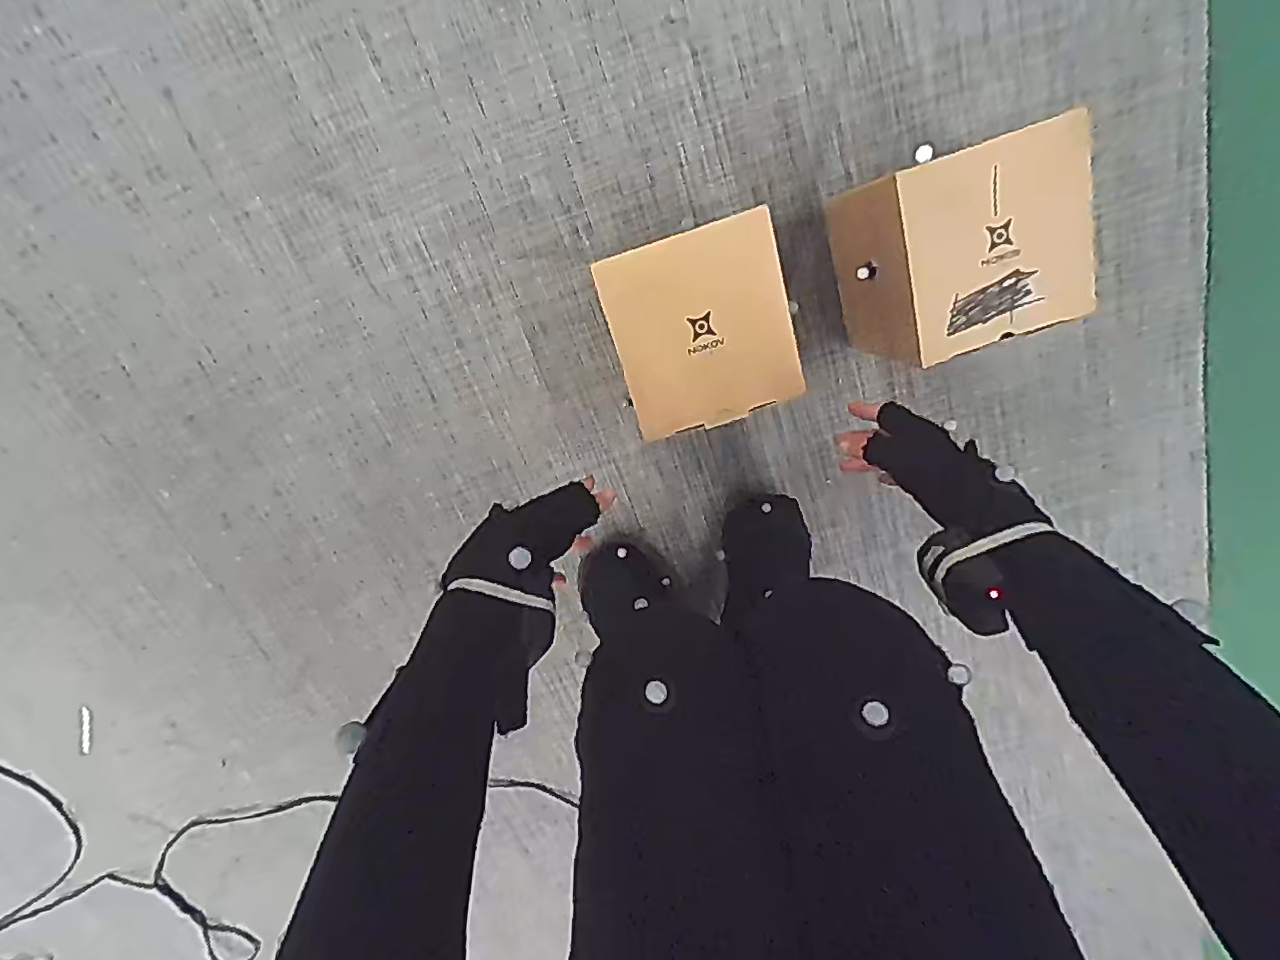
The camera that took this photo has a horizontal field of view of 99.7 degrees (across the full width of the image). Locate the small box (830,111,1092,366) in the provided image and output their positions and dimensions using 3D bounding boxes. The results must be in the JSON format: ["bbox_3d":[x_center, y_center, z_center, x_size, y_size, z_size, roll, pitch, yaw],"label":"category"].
[{"bbox_3d":[0.317,-0.236,0.560,0.168,0.176,0.179,-18,109,4],"label":"small box"}]

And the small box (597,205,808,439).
[{"bbox_3d":[0.058,-0.165,0.576,0.168,0.176,0.179,-17,110,4],"label":"small box"}]
